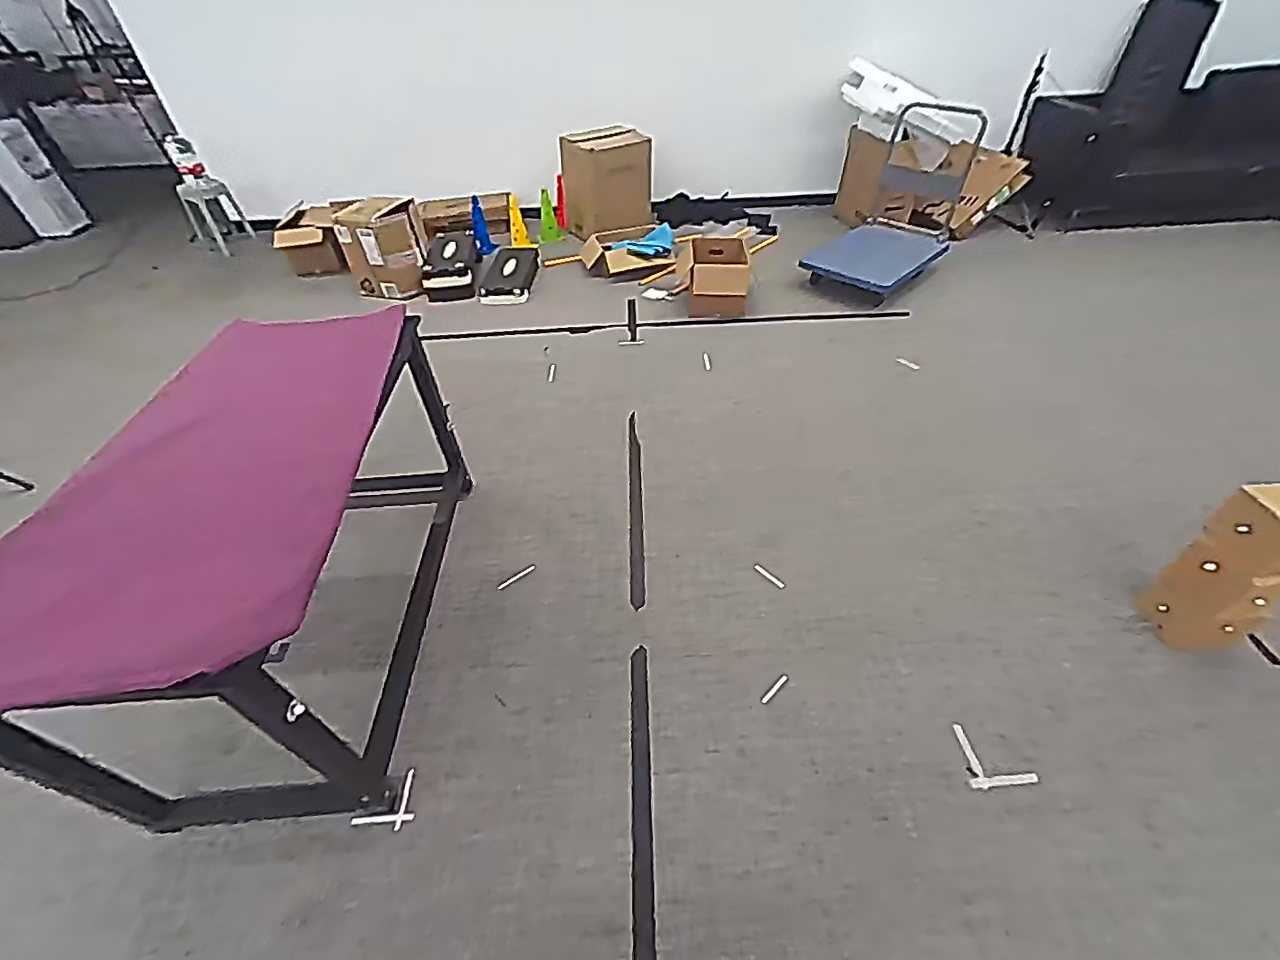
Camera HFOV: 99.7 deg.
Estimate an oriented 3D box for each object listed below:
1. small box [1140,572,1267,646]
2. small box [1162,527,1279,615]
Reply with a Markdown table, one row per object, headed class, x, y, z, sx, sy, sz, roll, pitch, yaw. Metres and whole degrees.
| class | x | y | z | sx | sy | sz | roll | pitch | yaw |
| --- | --- | --- | --- | --- | --- | --- | --- | --- | --- |
| small box | 1.647 | 0.379 | 1.602 | 0.179 | 0.176 | 0.168 | -1 | 44 | 1 |
| small box | 1.631 | 0.258 | 1.494 | 0.168 | 0.176 | 0.179 | -7 | 43 | -5 |
